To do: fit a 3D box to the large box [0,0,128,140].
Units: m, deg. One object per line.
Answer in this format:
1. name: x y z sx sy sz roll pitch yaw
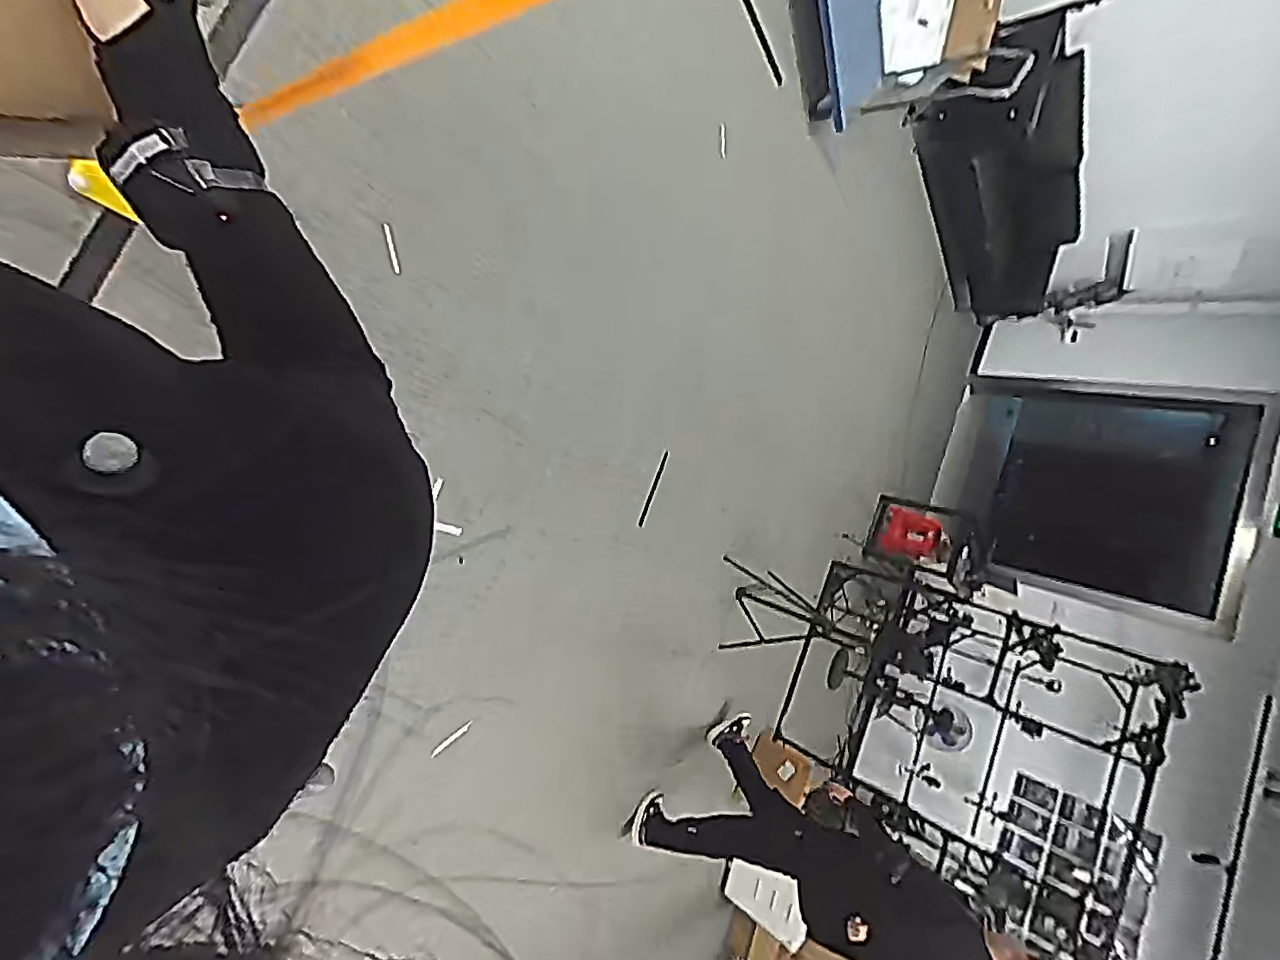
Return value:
1. large box: -0.613 -0.384 0.294 0.408 0.320 0.320 -24 124 -39
